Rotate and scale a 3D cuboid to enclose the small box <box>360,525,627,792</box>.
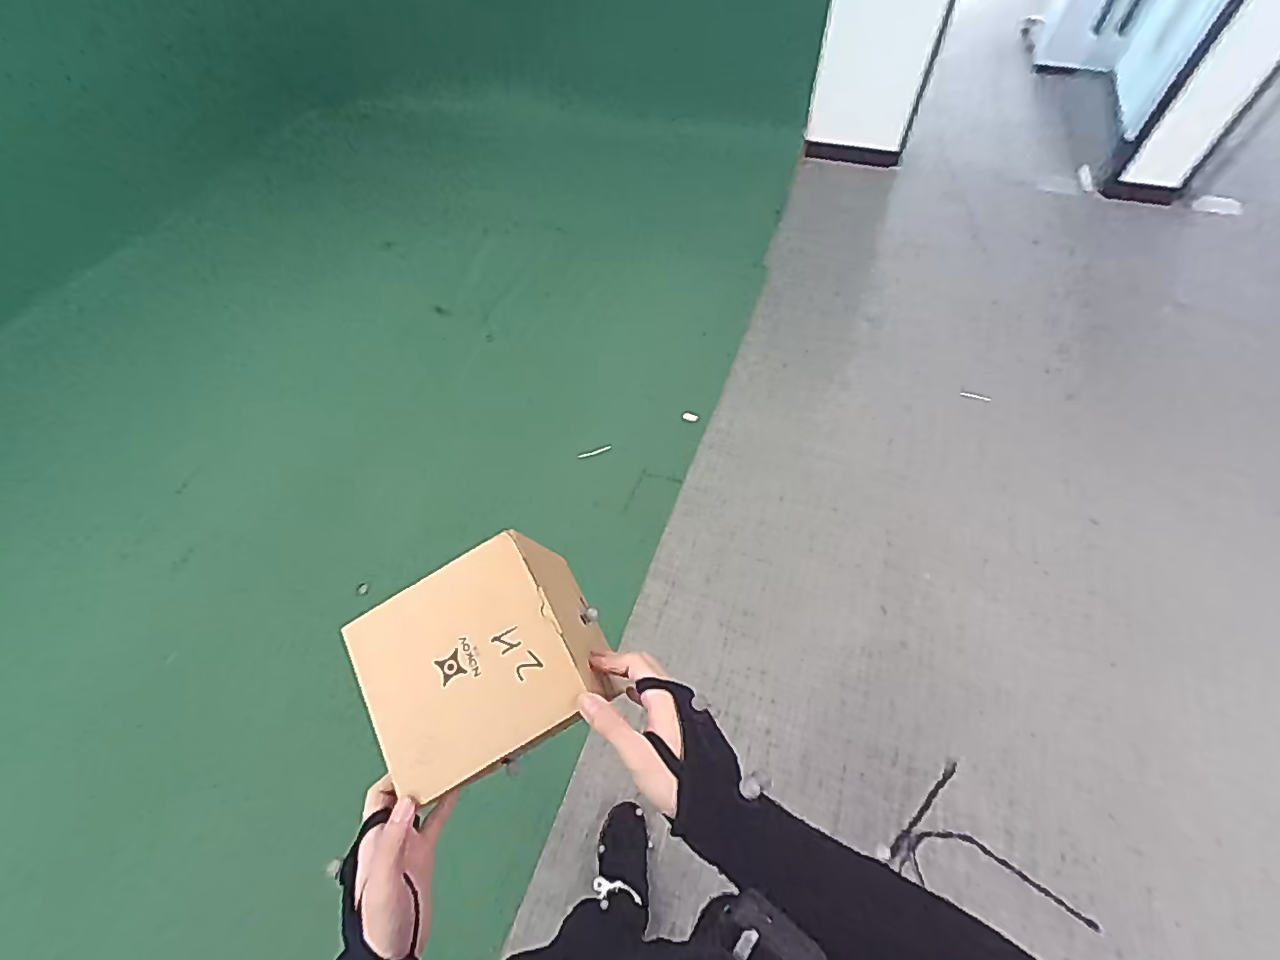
[{"bbox_3d":[-0.132,0.173,0.539,0.179,0.176,0.168,-29,70,-2],"label":"small box"}]
